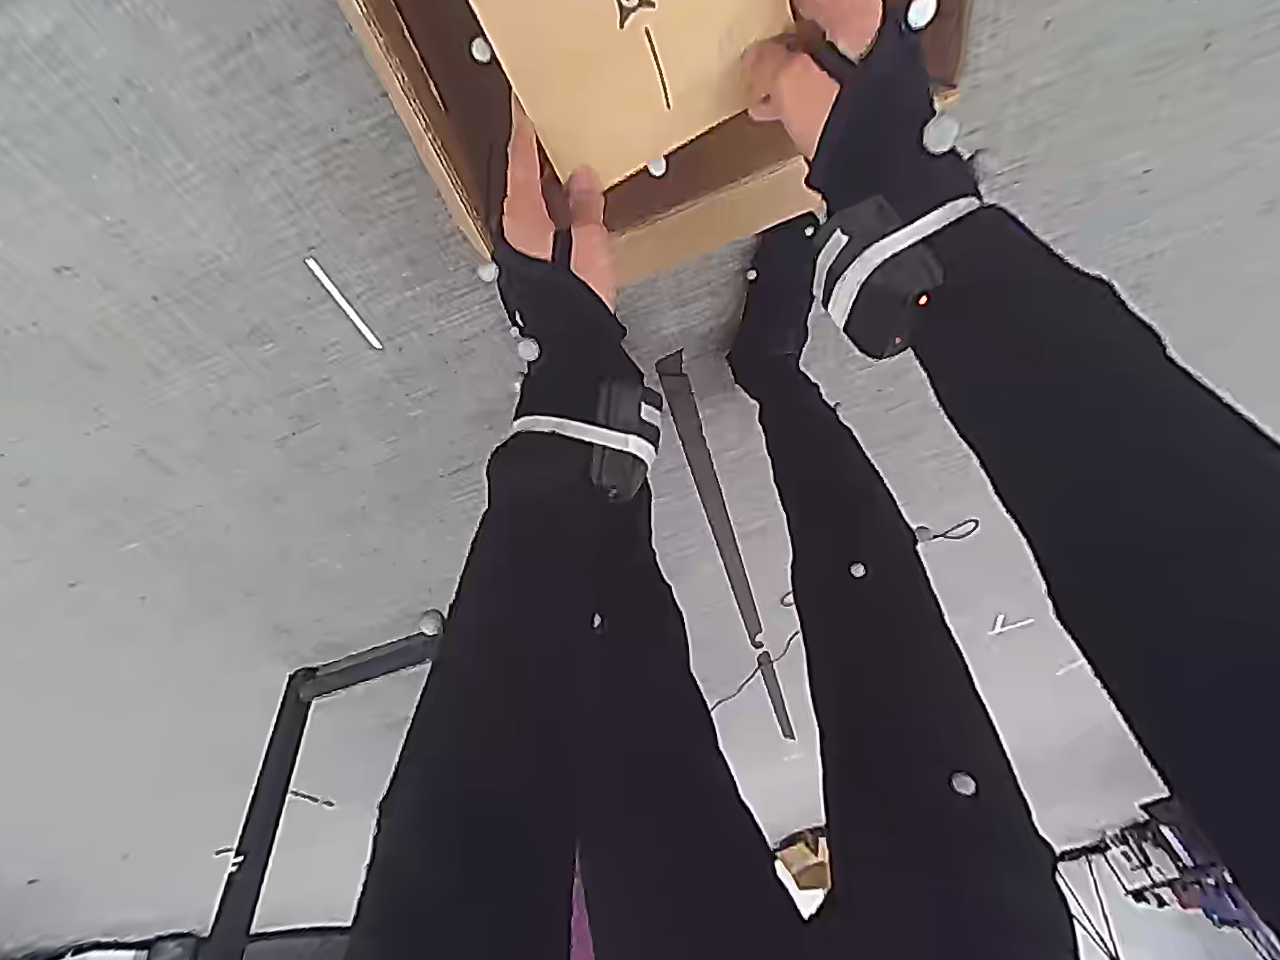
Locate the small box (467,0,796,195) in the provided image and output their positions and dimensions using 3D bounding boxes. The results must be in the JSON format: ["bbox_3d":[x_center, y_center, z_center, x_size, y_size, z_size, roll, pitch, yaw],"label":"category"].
[{"bbox_3d":[-0.023,-0.320,0.367,0.168,0.176,0.179,-26,121,7],"label":"small box"}]
